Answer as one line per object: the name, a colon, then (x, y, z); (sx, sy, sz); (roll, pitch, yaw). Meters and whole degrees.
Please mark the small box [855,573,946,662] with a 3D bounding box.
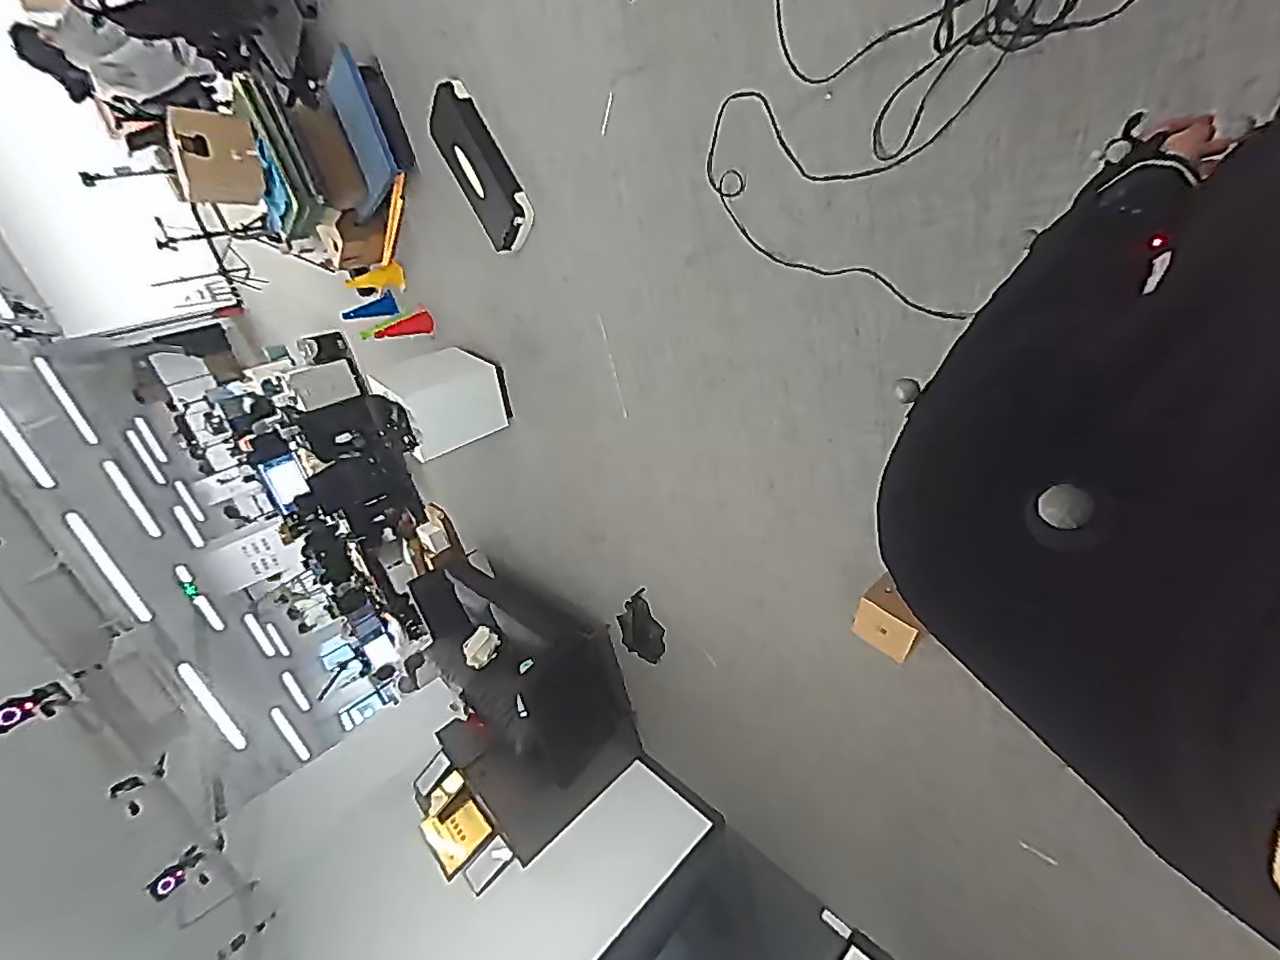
small box: (0.799, 0.411, 1.661); (0.179, 0.176, 0.168); (31, 138, 37)
